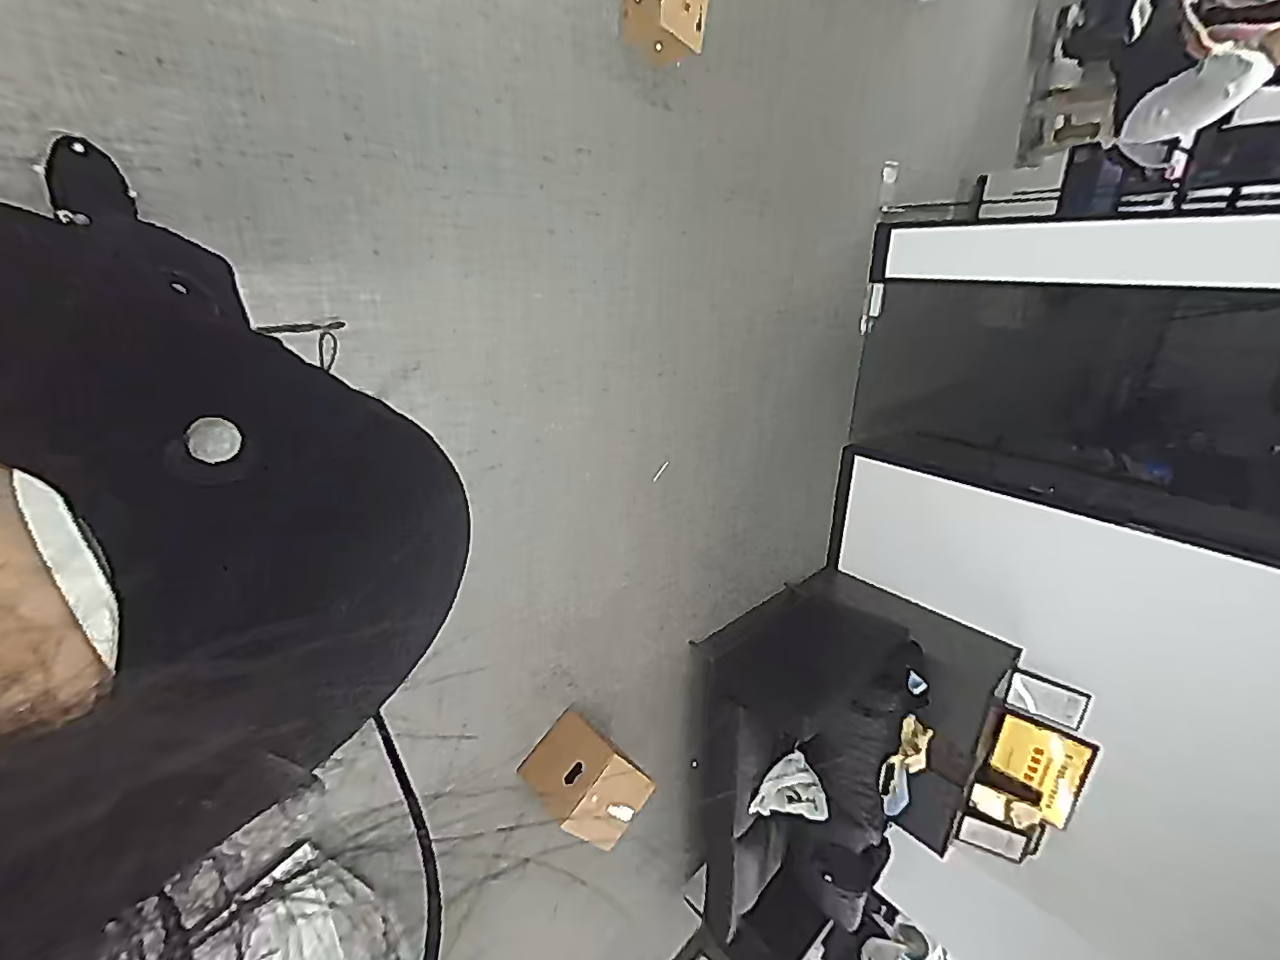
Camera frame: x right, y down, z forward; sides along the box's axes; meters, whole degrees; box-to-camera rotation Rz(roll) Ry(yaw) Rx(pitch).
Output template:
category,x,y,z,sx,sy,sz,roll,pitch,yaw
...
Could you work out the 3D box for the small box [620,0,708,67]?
category,x,y,z,sx,sy,sz,roll,pitch,yaw
small box,0.066,-1.310,1.527,0.179,0.176,0.168,-4,110,-42
